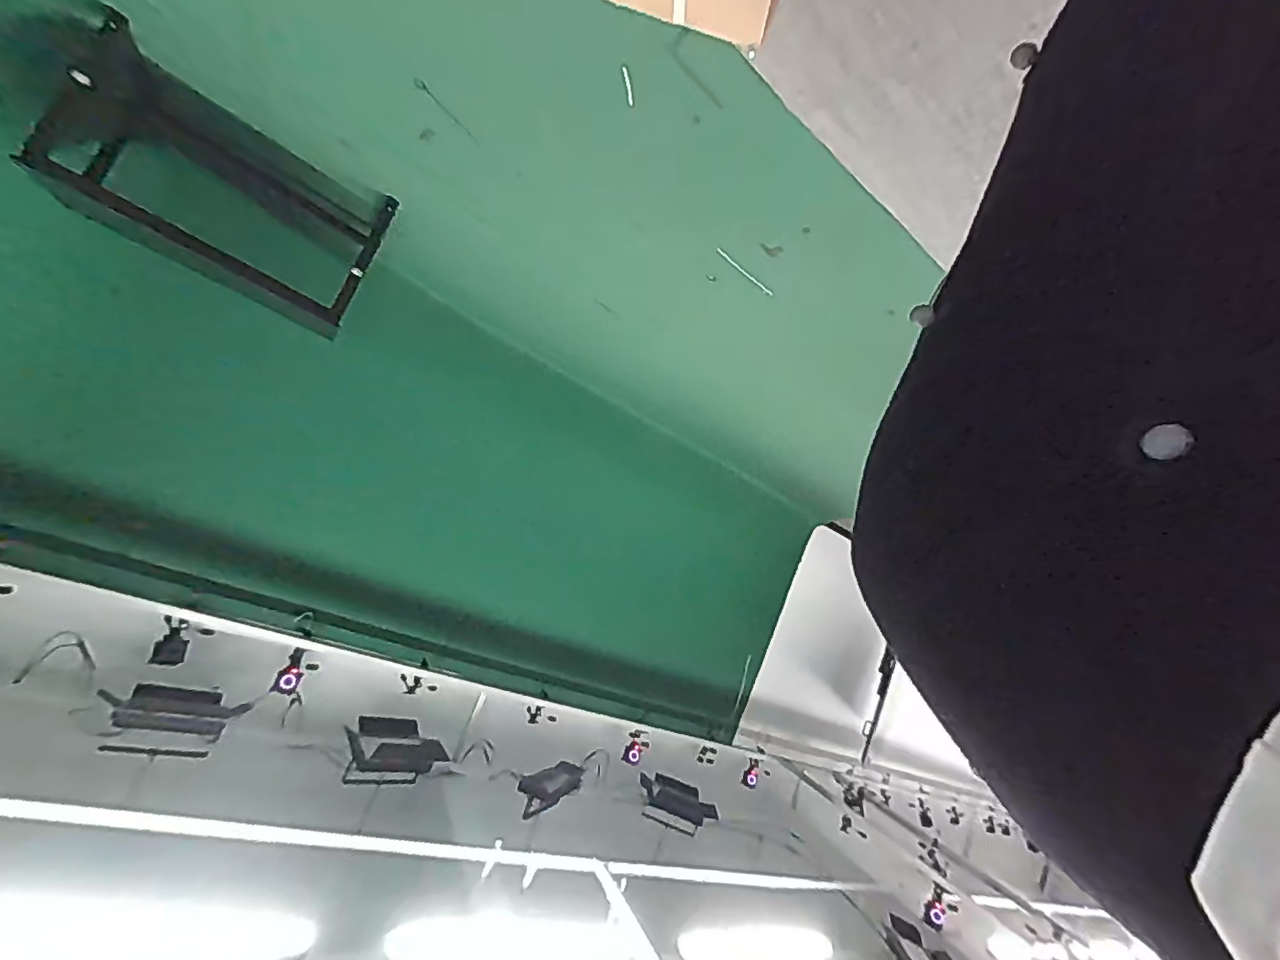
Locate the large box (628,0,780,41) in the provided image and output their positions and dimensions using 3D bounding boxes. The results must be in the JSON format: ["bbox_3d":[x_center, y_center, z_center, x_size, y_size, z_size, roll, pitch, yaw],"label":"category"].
[{"bbox_3d":[0.128,-0.999,0.793,0.320,0.320,0.408,23,173,4],"label":"large box"}]
